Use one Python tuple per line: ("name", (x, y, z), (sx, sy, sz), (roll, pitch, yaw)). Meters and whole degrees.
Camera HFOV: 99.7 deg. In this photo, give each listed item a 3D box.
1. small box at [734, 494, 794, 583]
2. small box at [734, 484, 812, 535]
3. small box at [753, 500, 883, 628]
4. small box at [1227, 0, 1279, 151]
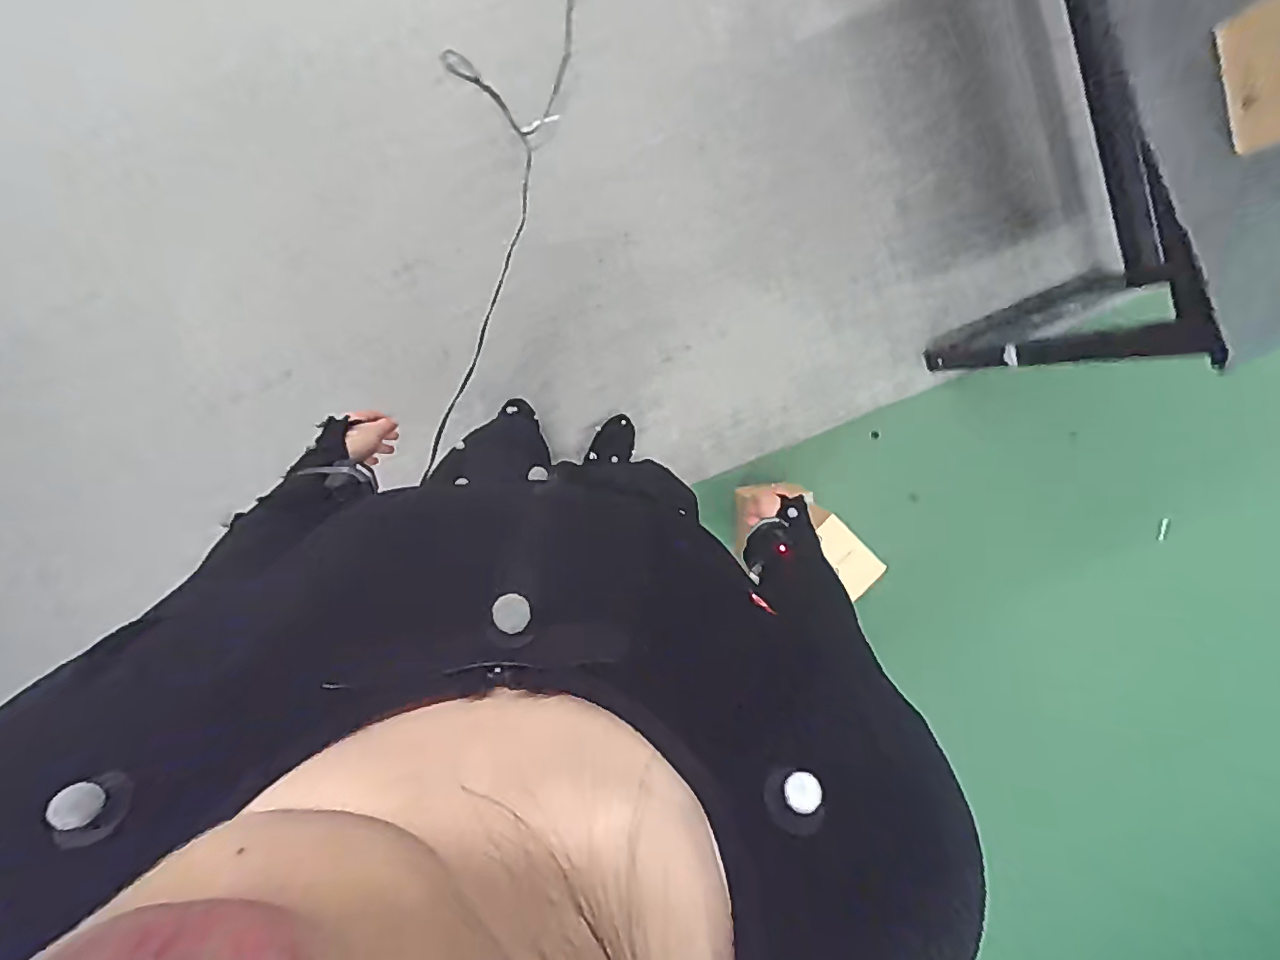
("small box", (0.337, 0.143, 1.292), (0.168, 0.176, 0.179), (14, 99, -5))
("small box", (0.355, 0.109, 1.453), (0.168, 0.176, 0.179), (-6, 100, -3))
("small box", (0.357, 0.167, 1.130), (0.168, 0.176, 0.179), (44, 93, -9))
("small box", (0.863, -0.532, 0.642), (0.179, 0.176, 0.168), (-23, 100, -2))
